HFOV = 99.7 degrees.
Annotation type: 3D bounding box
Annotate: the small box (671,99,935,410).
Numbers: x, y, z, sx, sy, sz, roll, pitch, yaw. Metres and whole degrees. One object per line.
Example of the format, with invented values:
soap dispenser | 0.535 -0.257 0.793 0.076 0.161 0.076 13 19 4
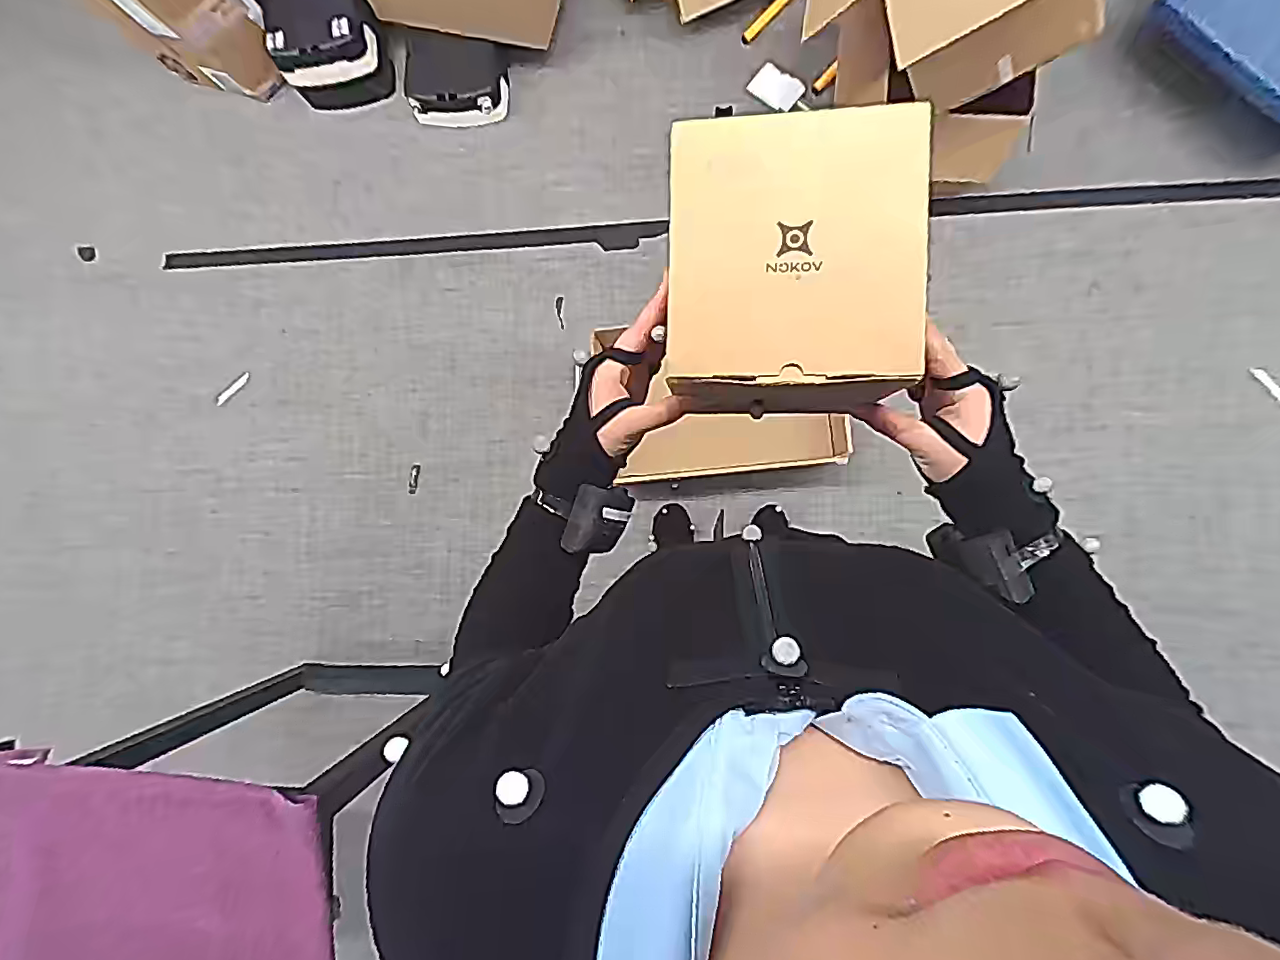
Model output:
small box | 0.112 -0.155 0.428 0.168 0.176 0.179 1 91 8
